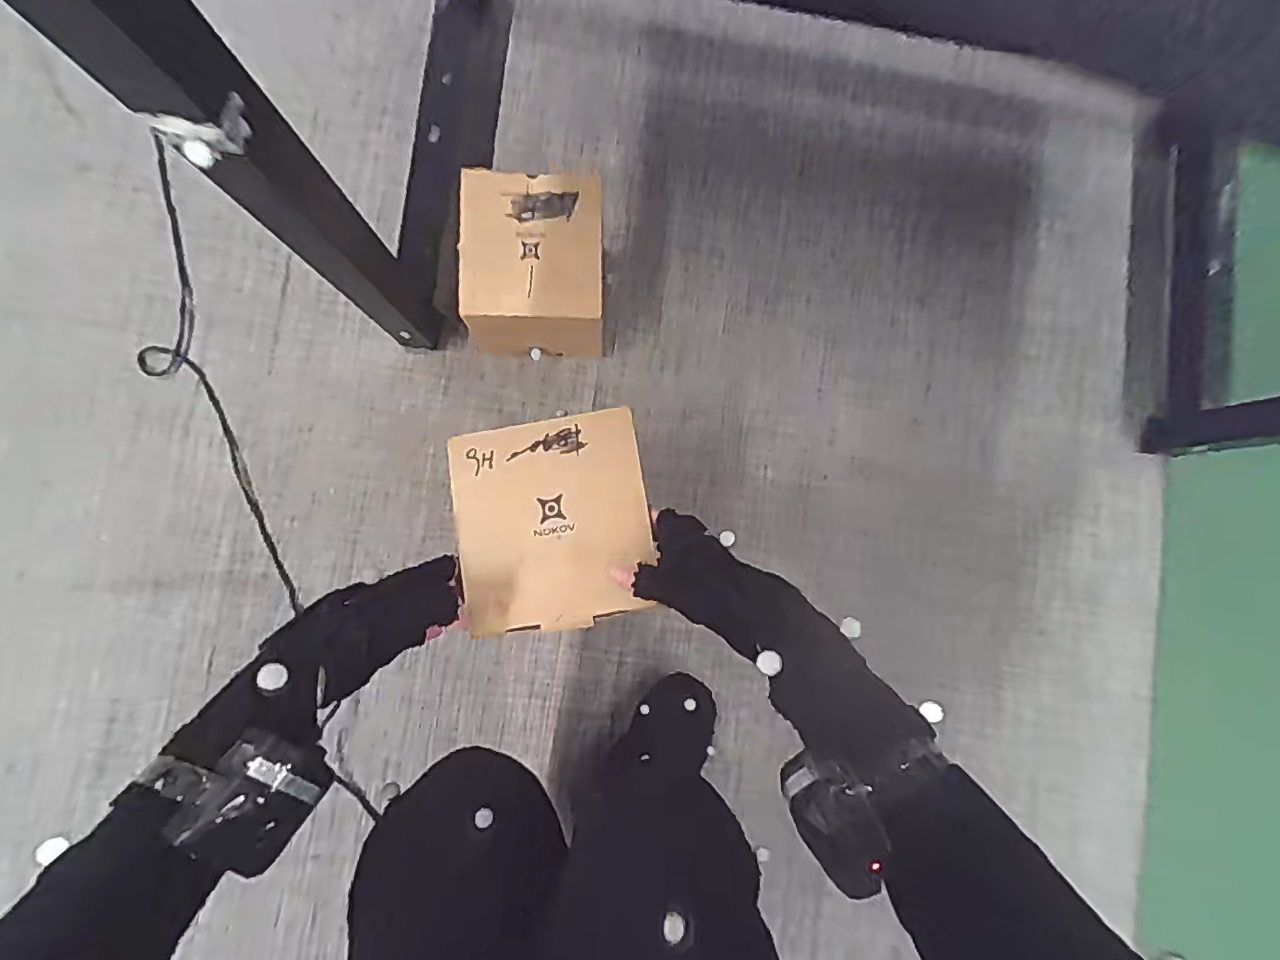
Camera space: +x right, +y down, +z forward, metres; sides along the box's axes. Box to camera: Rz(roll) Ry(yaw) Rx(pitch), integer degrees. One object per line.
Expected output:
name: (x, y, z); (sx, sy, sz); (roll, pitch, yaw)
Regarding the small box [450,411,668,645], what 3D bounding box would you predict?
small box: (-0.066, 0.049, 0.531); (0.168, 0.176, 0.179); (-10, 81, 1)
